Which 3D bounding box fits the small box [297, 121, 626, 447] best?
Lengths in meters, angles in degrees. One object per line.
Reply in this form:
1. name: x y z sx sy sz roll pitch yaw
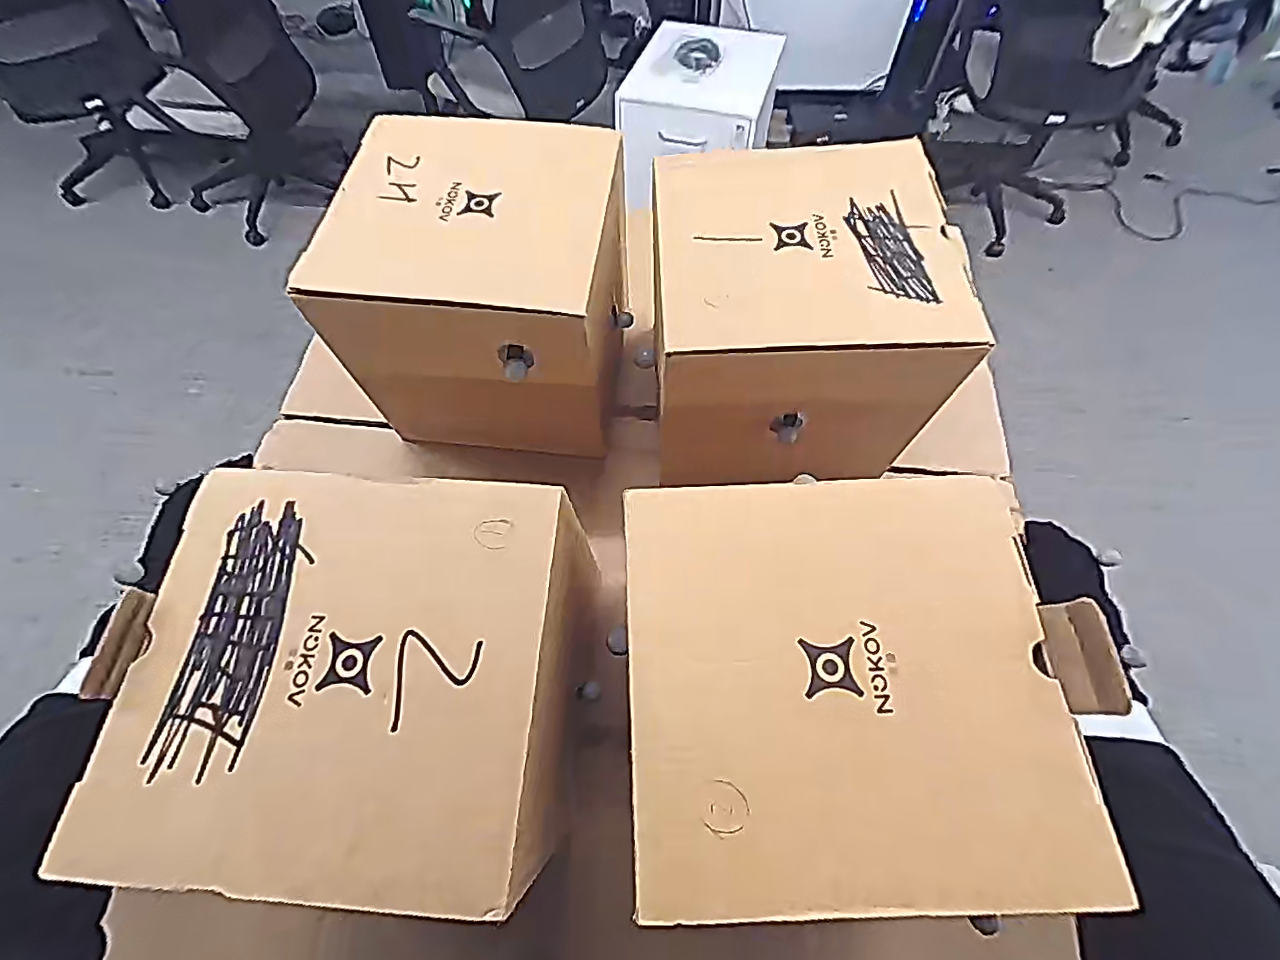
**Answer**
1. small box: -0.108 -0.139 0.421 0.179 0.176 0.168 6 64 4
